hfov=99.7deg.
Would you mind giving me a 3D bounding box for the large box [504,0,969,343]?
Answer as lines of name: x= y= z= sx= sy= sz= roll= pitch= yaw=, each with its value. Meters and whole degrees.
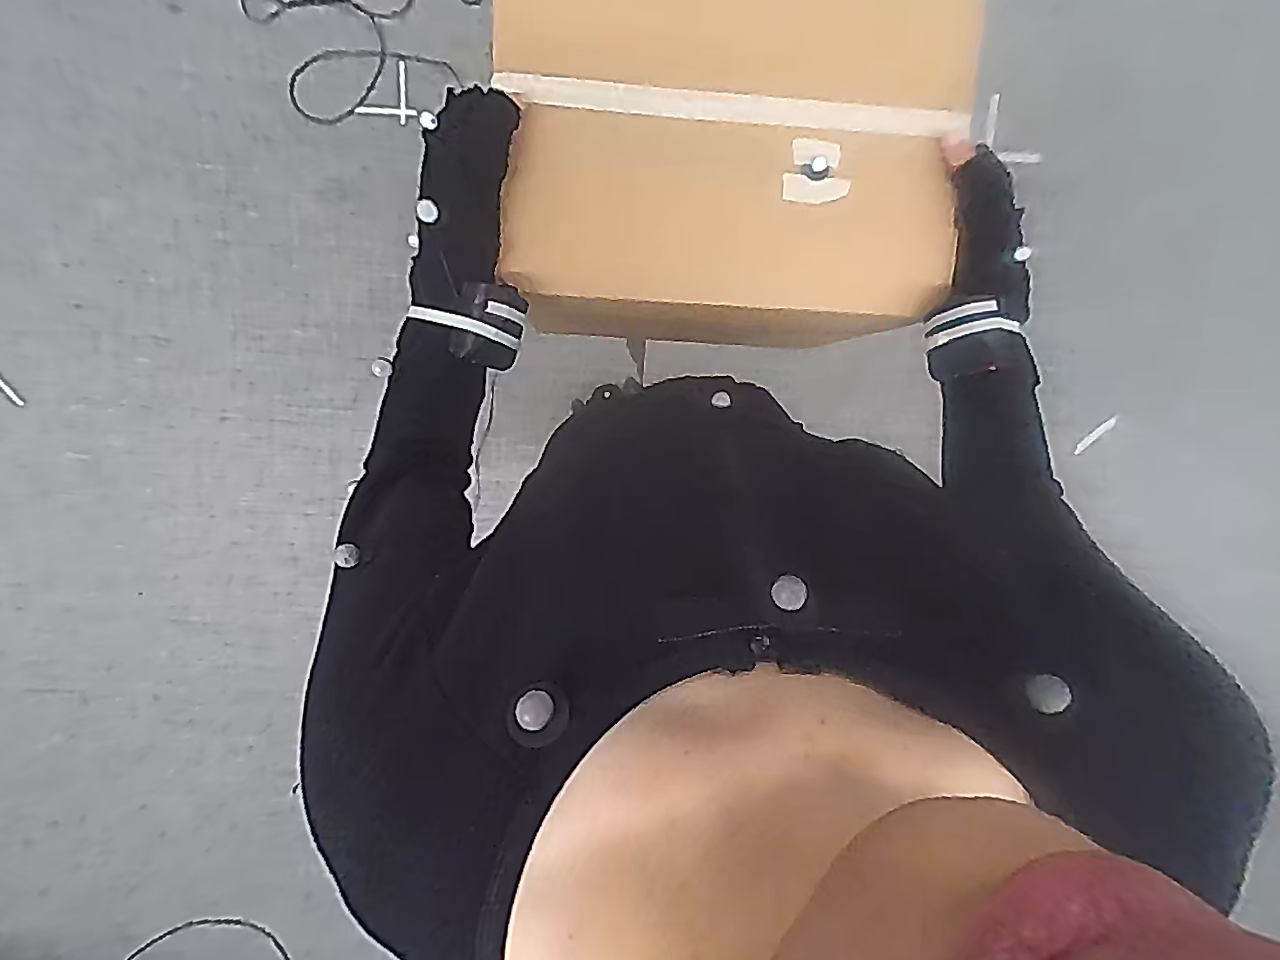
large box: x=0.071 y=-0.336 z=0.612 sx=0.408 sy=0.320 sz=0.320 roll=2 pitch=98 yaw=-5
